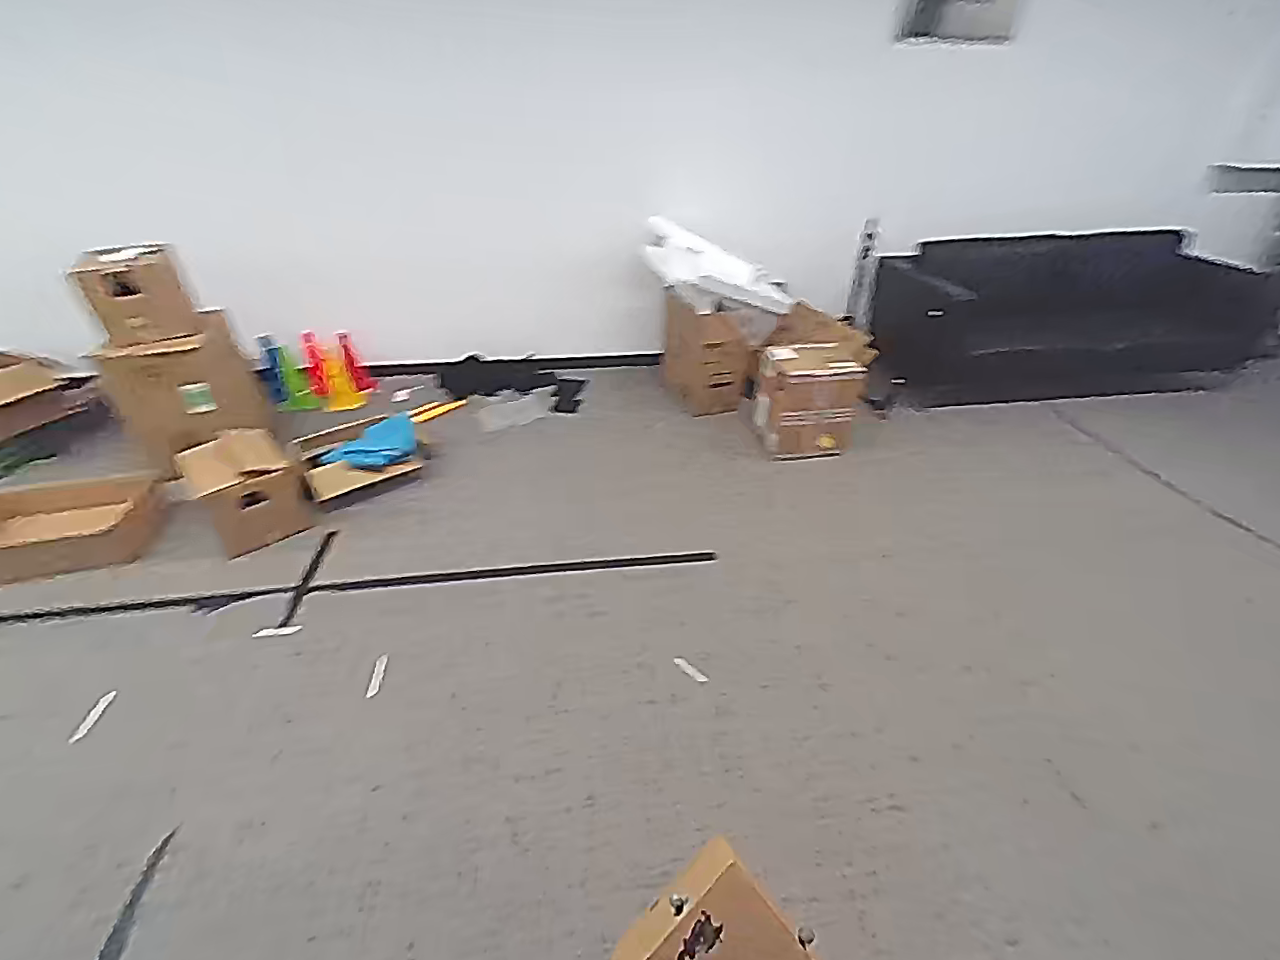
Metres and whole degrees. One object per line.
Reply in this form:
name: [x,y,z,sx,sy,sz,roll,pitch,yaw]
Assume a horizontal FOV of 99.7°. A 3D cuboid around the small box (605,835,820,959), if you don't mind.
small box: [0.079,0.483,0.518,0.168,0.176,0.179,-40,69,-15]
